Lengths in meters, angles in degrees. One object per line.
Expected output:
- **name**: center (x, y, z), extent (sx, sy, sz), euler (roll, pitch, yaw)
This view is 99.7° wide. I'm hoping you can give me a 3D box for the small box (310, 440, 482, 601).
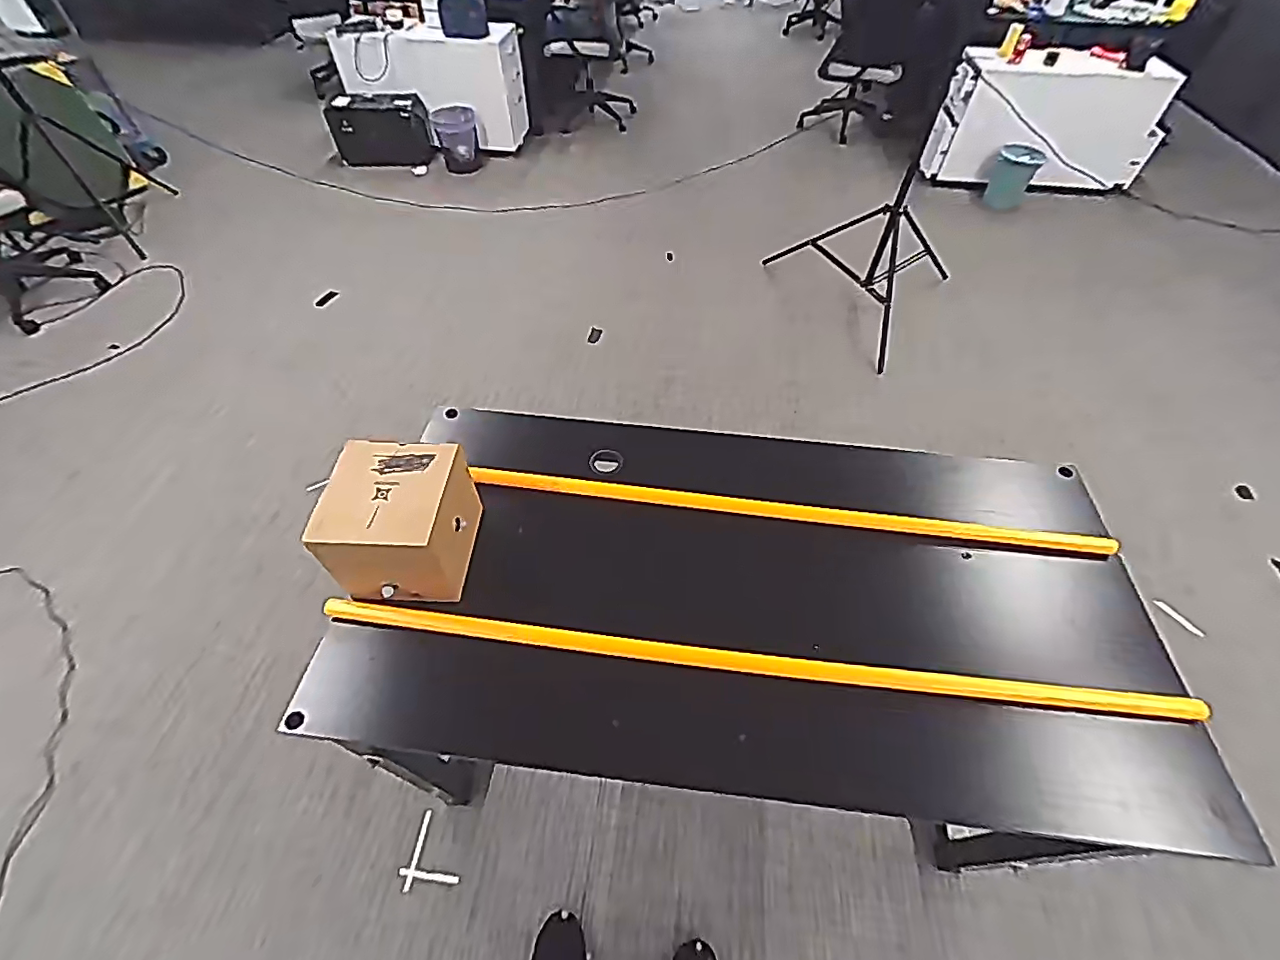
- **small box**: center (-0.344, 0.062, 0.808), extent (0.168, 0.176, 0.179), euler (2, 53, 0)
